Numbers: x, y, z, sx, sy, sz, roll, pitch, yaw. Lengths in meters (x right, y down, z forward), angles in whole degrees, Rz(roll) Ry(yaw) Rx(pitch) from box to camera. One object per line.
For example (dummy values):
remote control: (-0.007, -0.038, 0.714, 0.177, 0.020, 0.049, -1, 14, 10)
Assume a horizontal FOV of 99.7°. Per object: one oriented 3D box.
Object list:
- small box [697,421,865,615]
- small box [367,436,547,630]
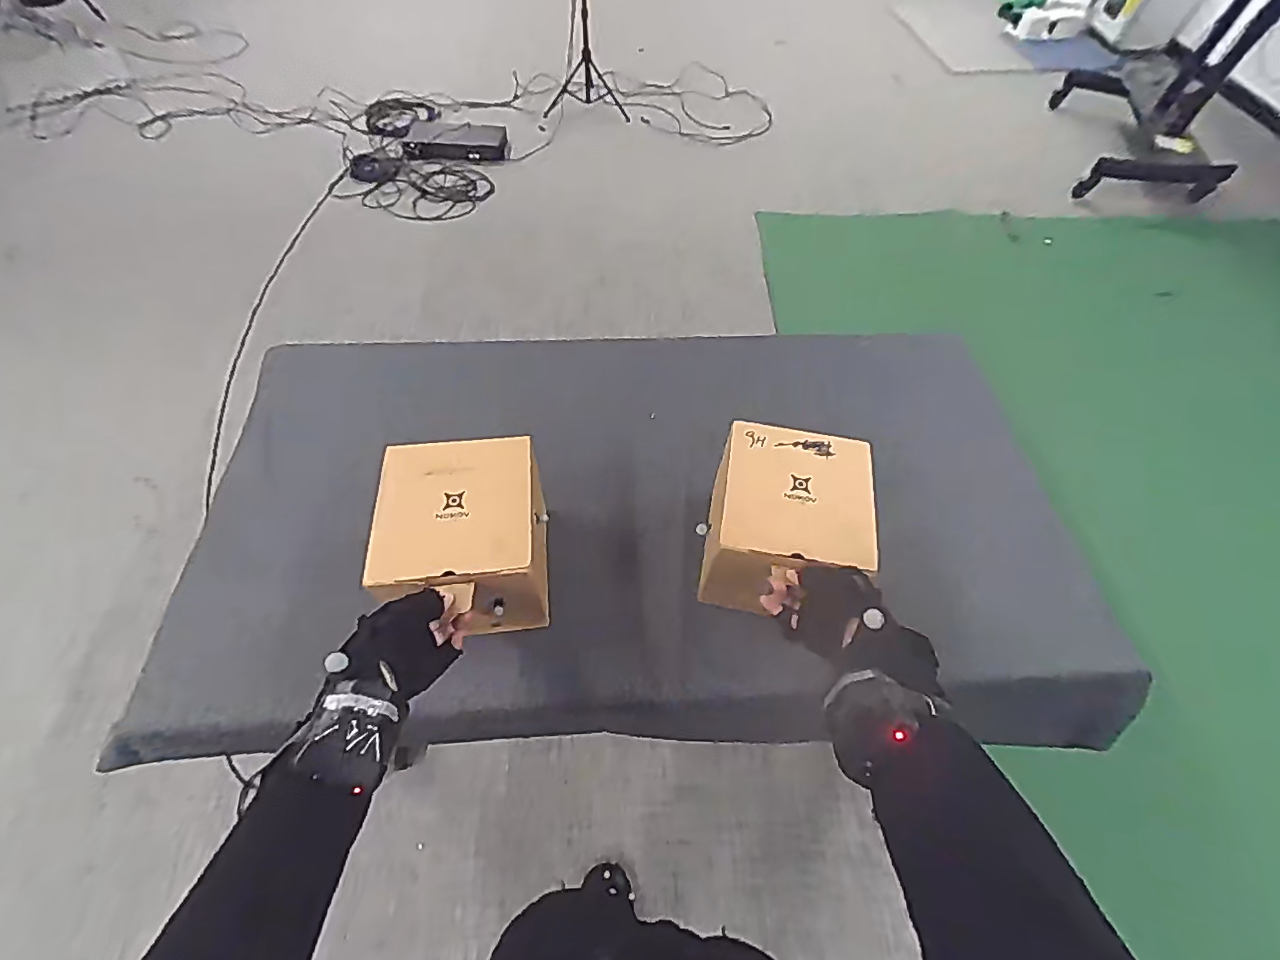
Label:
small box: (0.169, 0.054, 0.682, 0.168, 0.176, 0.179, 10, 58, 3)
small box: (-0.205, 0.071, 0.655, 0.168, 0.176, 0.179, -5, 55, -7)
